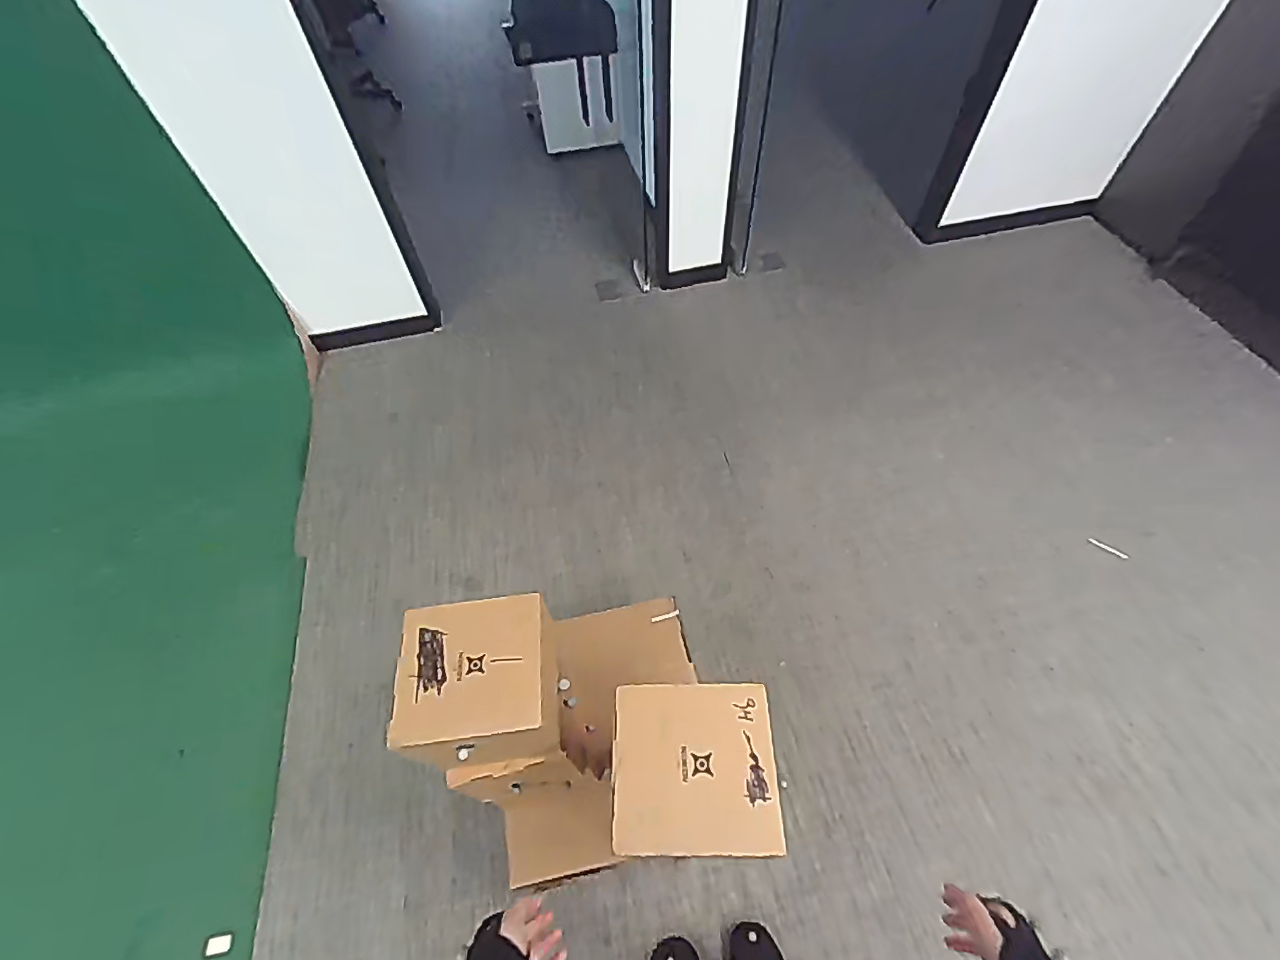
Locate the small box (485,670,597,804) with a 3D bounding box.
[{"bbox_3d":[-0.177,0.466,0.976,0.179,0.176,0.168,-13,54,-5],"label":"small box"}]

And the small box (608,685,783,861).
[{"bbox_3d":[0.062,0.350,0.642,0.179,0.176,0.168,-1,55,3],"label":"small box"}]

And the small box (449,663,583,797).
[{"bbox_3d":[-0.188,0.373,0.843,0.168,0.176,0.179,-11,55,-5],"label":"small box"}]

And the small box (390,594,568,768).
[{"bbox_3d":[-0.198,0.270,0.714,0.179,0.176,0.168,-7,55,-2],"label":"small box"}]
